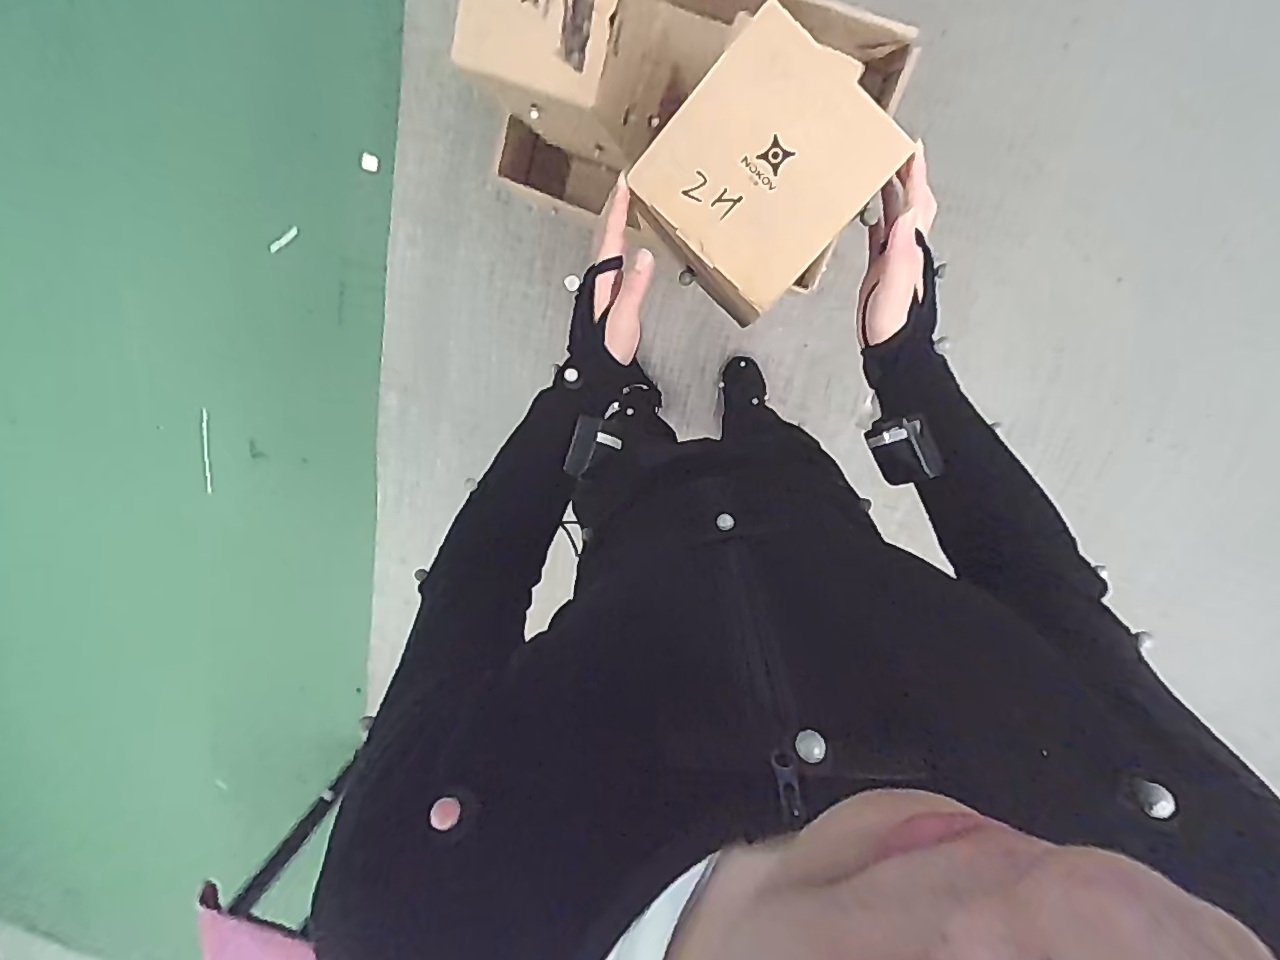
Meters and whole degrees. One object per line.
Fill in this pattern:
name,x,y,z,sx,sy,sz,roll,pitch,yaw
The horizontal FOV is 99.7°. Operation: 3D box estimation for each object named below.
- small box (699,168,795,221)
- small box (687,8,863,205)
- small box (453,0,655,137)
small box,0.218,-0.570,0.933,0.168,0.176,0.179,26,112,1
small box,0.186,-0.519,0.782,0.179,0.176,0.168,25,111,1
small box,-0.093,-0.544,0.655,0.179,0.176,0.168,21,111,4
